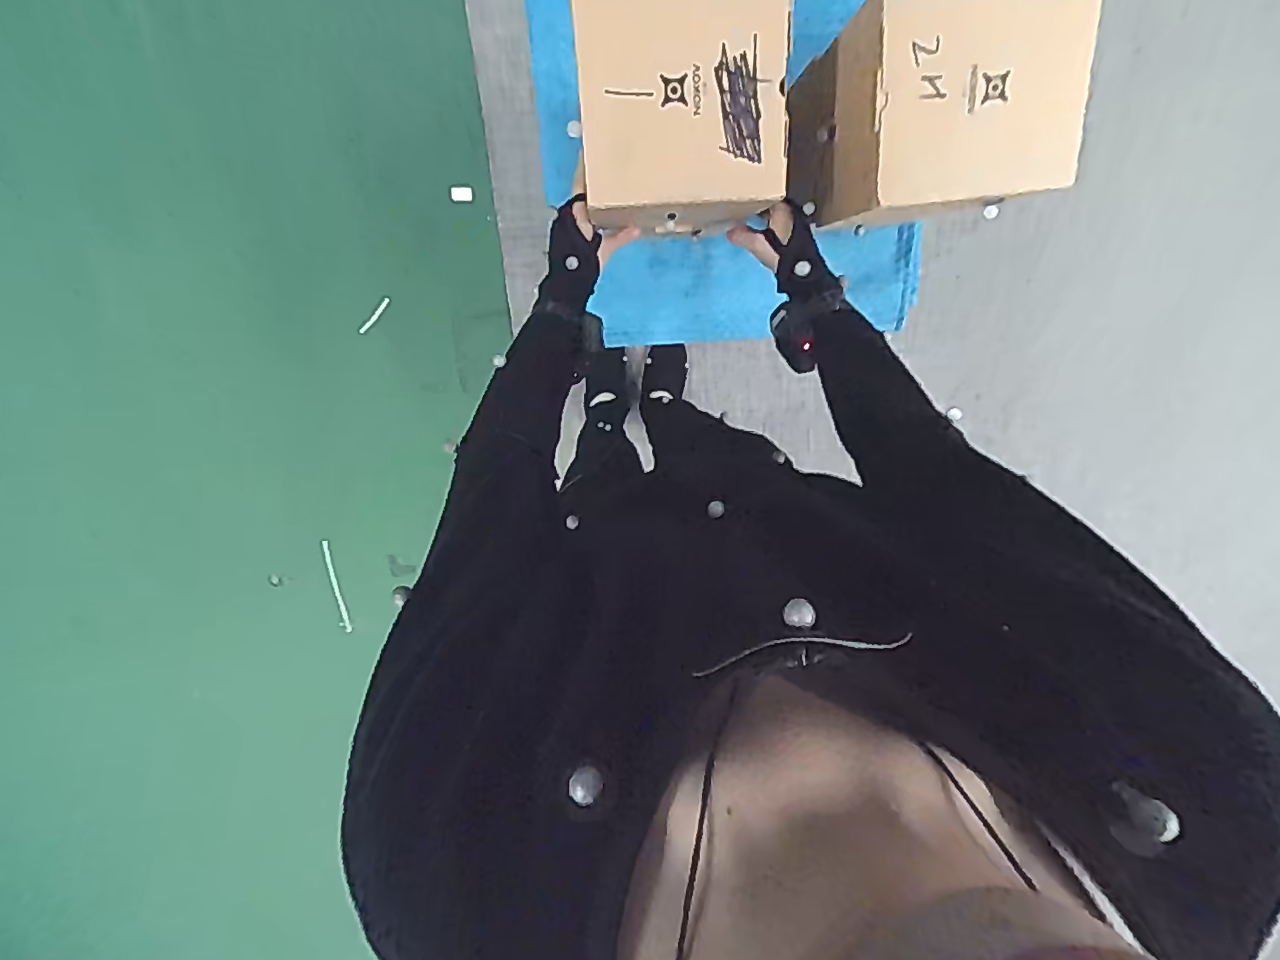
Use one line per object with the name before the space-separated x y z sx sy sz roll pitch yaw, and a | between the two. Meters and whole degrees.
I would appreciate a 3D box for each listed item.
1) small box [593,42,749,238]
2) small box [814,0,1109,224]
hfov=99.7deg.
small box | 0.032 -0.399 0.665 0.168 0.176 0.179 -2 108 -2
small box | 0.281 -0.346 0.512 0.179 0.176 0.168 -5 109 1
